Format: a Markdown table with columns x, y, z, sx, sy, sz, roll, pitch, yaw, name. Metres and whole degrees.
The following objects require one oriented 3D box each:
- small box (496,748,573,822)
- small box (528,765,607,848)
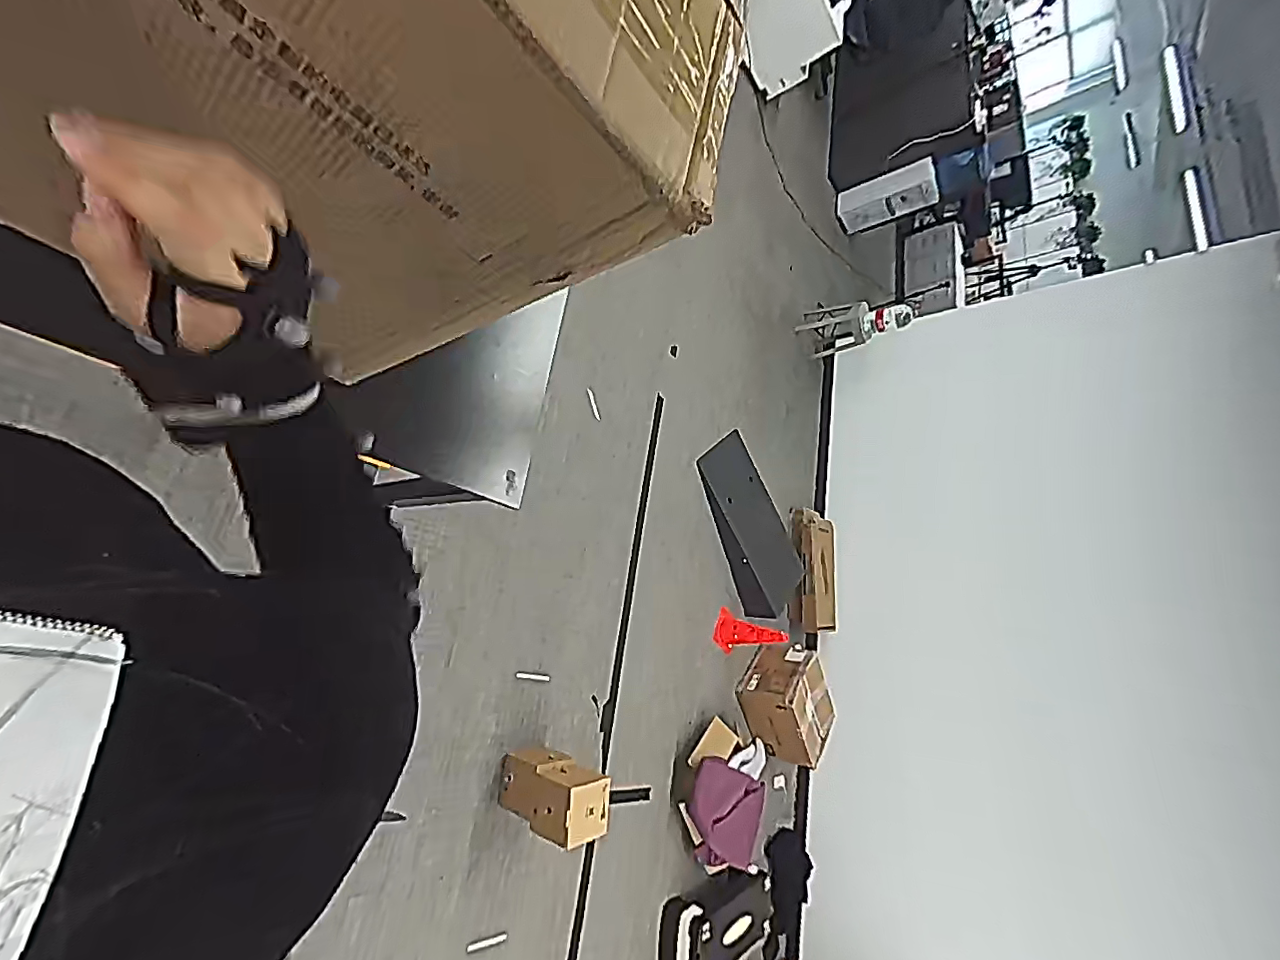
| x | y | z | sx | sy | sz | roll | pitch | yaw | name |
| --- | --- | --- | --- | --- | --- | --- | --- | --- | --- |
| -0.350 | 1.004 | 1.796 | 0.179 | 0.176 | 0.168 | 20 | 70 | -47 | small box |
| -0.227 | 1.009 | 1.687 | 0.179 | 0.176 | 0.168 | 19 | 71 | -48 | small box |
